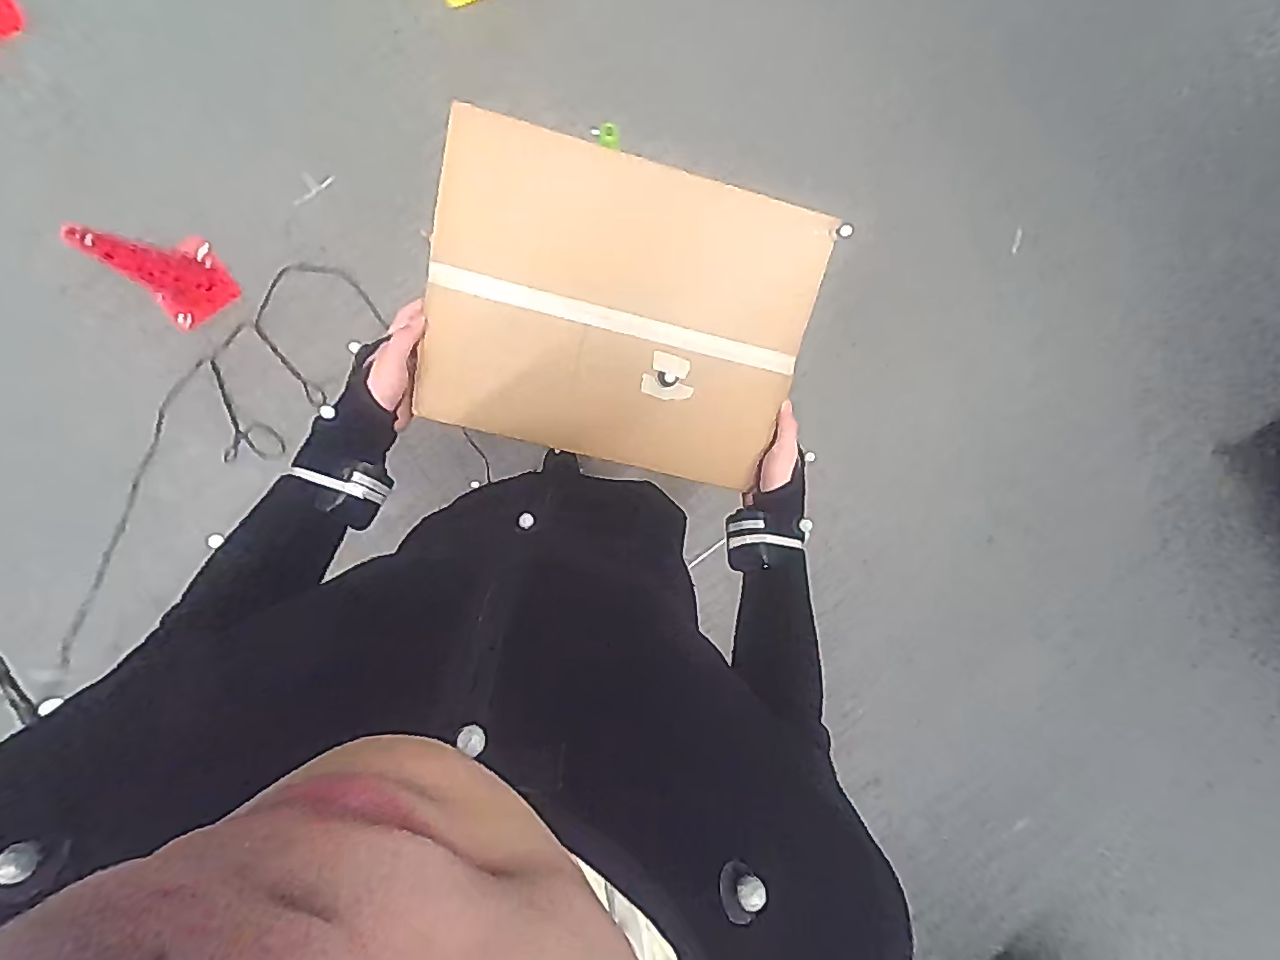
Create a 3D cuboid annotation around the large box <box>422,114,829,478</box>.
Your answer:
[{"bbox_3d":[-0.035,-0.223,0.732,0.408,0.320,0.320,11,107,-8],"label":"large box"}]

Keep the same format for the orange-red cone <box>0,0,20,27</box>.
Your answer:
[{"bbox_3d":[-1.737,-1.251,1.238,0.199,0.360,0.198,-28,95,-2],"label":"orange-red cone"}]
